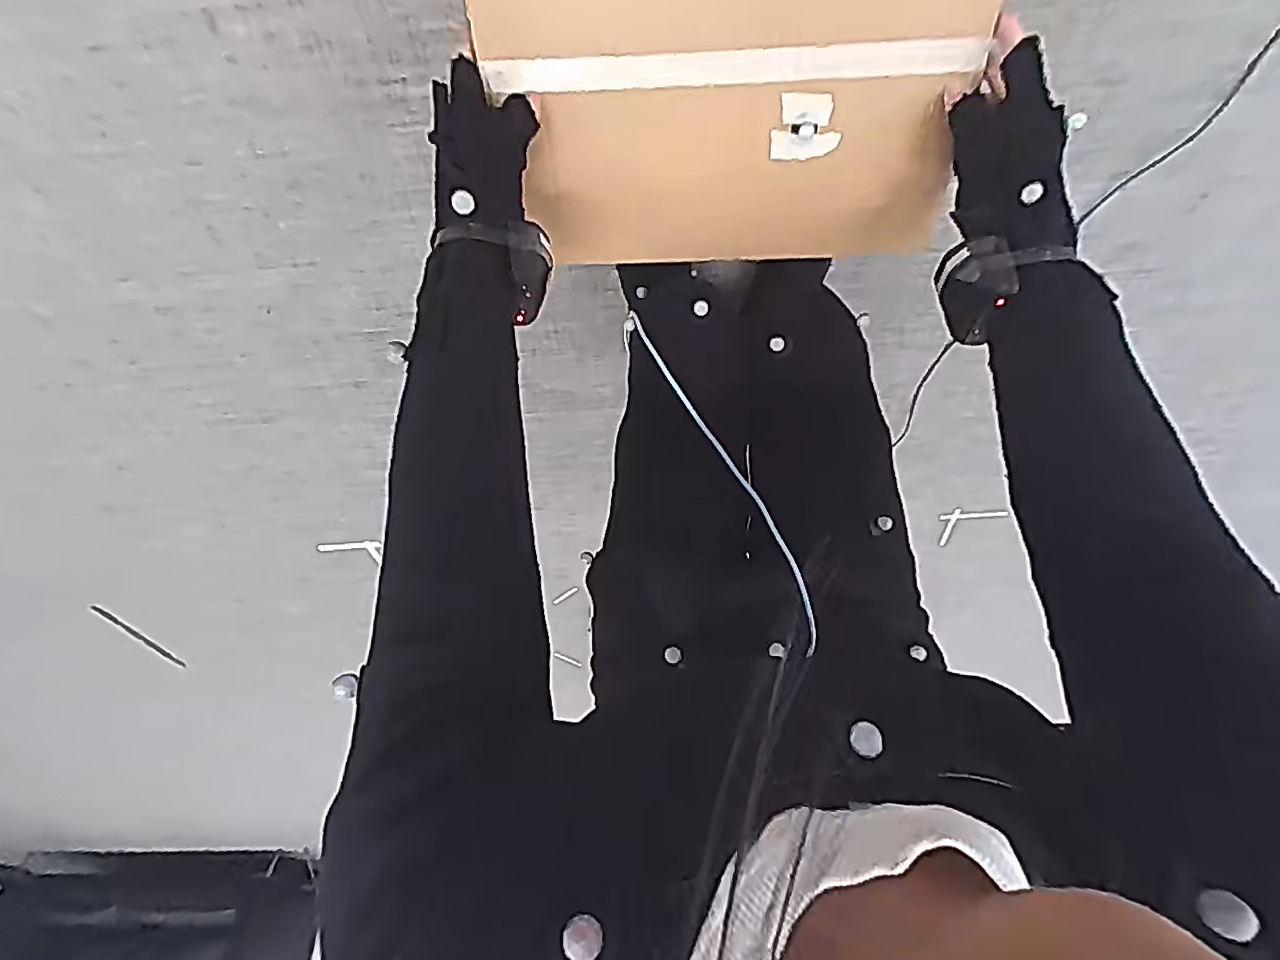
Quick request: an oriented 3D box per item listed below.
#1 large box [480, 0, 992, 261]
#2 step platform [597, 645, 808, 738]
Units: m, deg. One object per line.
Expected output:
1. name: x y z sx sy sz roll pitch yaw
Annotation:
1. large box: 0.075 -0.445 0.555 0.408 0.320 0.320 -1 134 2
2. step platform: 0.202 0.710 1.795 0.684 0.204 0.286 -3 134 7
